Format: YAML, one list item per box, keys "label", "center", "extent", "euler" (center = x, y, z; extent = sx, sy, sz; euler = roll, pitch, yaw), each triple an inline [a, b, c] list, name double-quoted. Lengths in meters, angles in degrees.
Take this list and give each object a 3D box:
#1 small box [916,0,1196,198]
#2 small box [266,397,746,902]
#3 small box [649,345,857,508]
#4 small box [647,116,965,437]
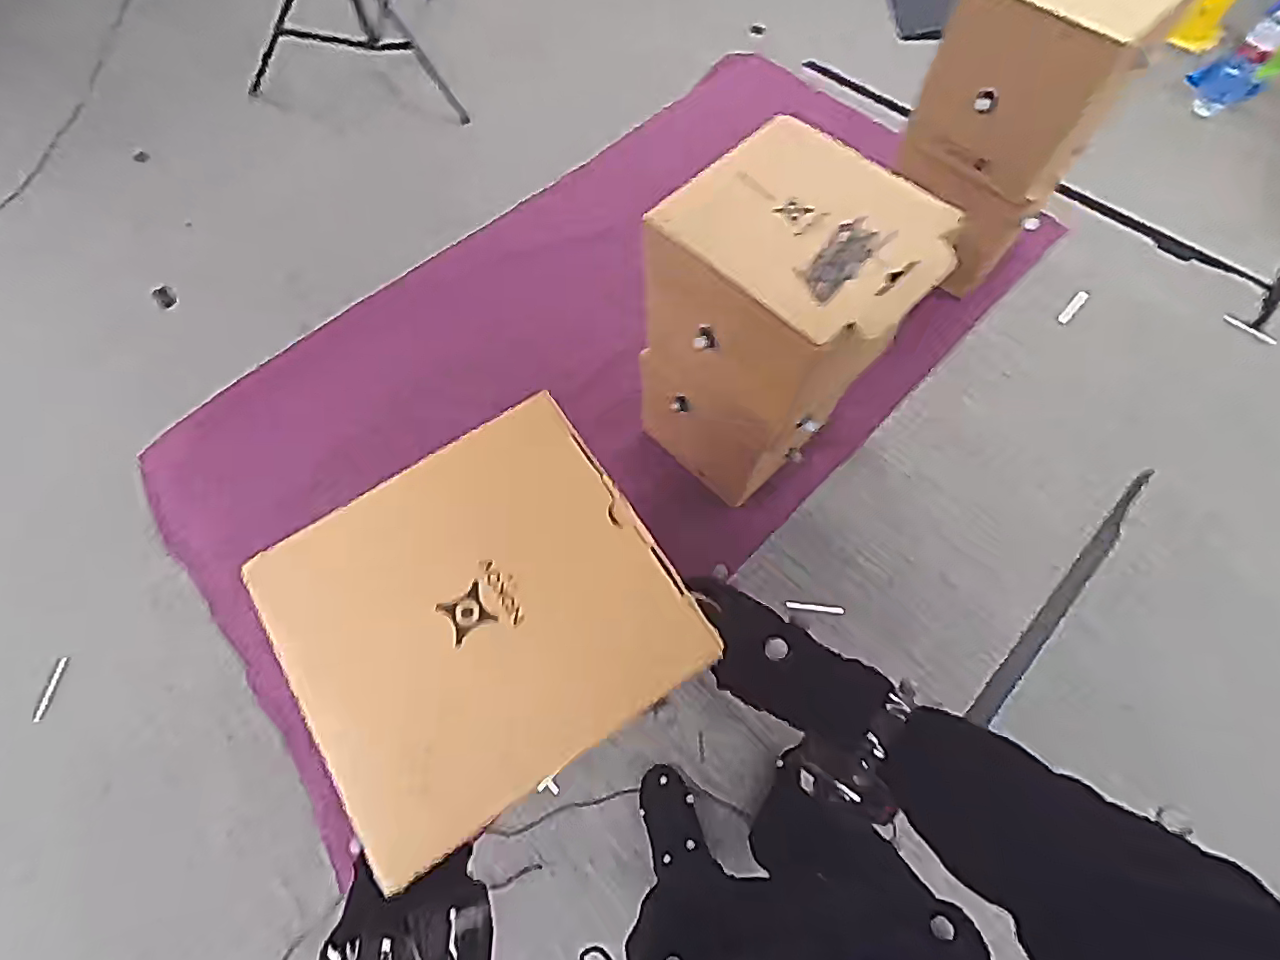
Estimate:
- label: "small box"
  center: [0.434, -0.449, 0.585]
  extent: [0.179, 0.176, 0.168]
  euler: [-41, 72, -13]
- label: "small box"
  center: [-0.064, 0.089, 0.326]
  extent: [0.179, 0.176, 0.168]
  euler: [-32, 75, -10]
- label: "small box"
  center: [0.123, -0.099, 0.628]
  extent: [0.179, 0.176, 0.168]
  euler: [-42, 73, -15]
- label: "small box"
  center: [0.125, -0.160, 0.475]
  extent: [0.168, 0.176, 0.179]
  euler: [-42, 72, -14]
